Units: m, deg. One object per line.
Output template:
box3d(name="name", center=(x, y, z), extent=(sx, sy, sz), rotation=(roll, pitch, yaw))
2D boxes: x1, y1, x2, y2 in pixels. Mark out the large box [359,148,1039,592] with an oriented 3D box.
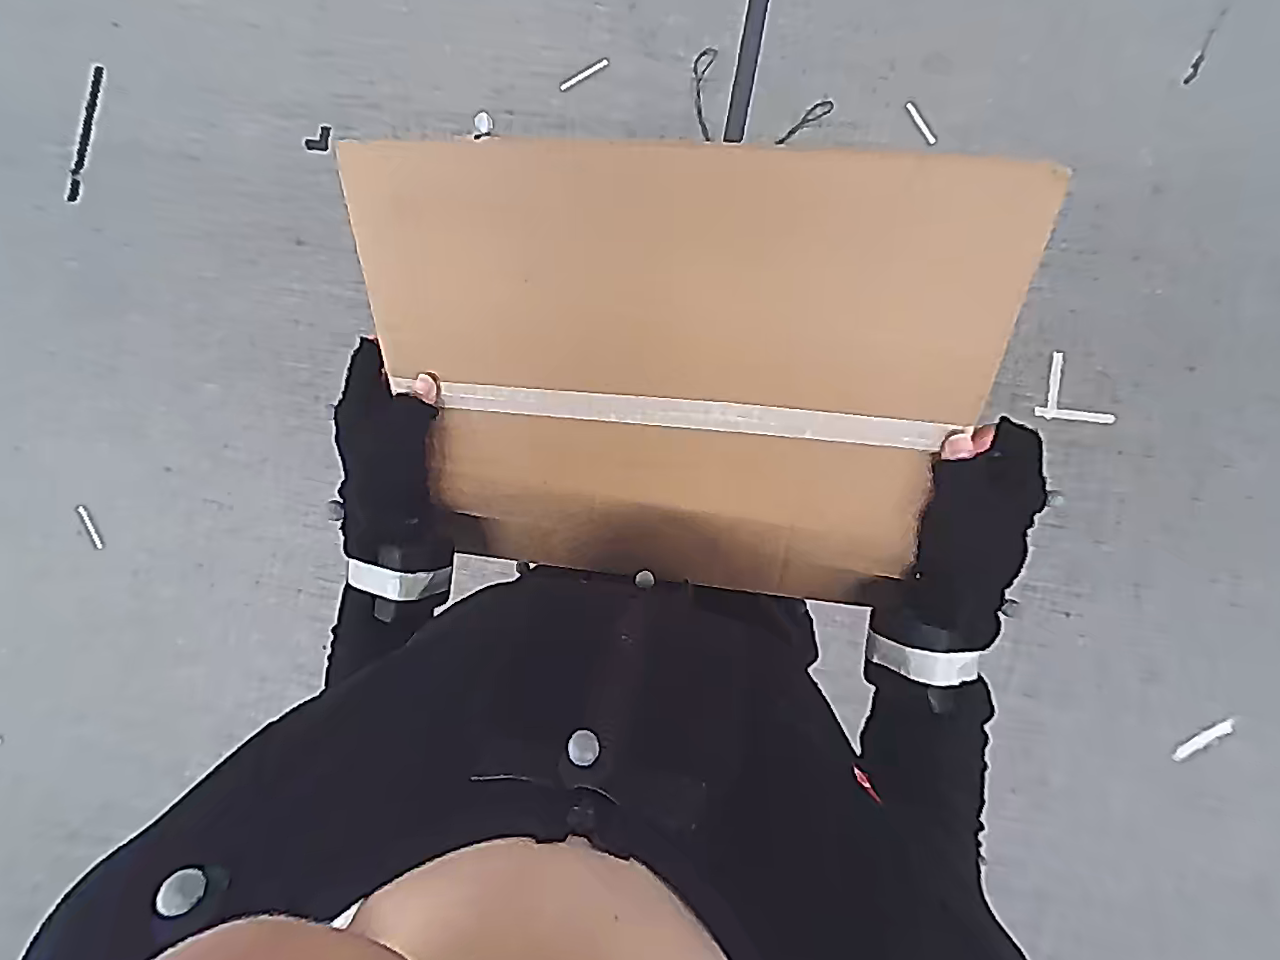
box3d(name="large box", center=(0.038, -0.131, 0.515), extent=(0.408, 0.320, 0.320), rotation=(6, 124, 7))
